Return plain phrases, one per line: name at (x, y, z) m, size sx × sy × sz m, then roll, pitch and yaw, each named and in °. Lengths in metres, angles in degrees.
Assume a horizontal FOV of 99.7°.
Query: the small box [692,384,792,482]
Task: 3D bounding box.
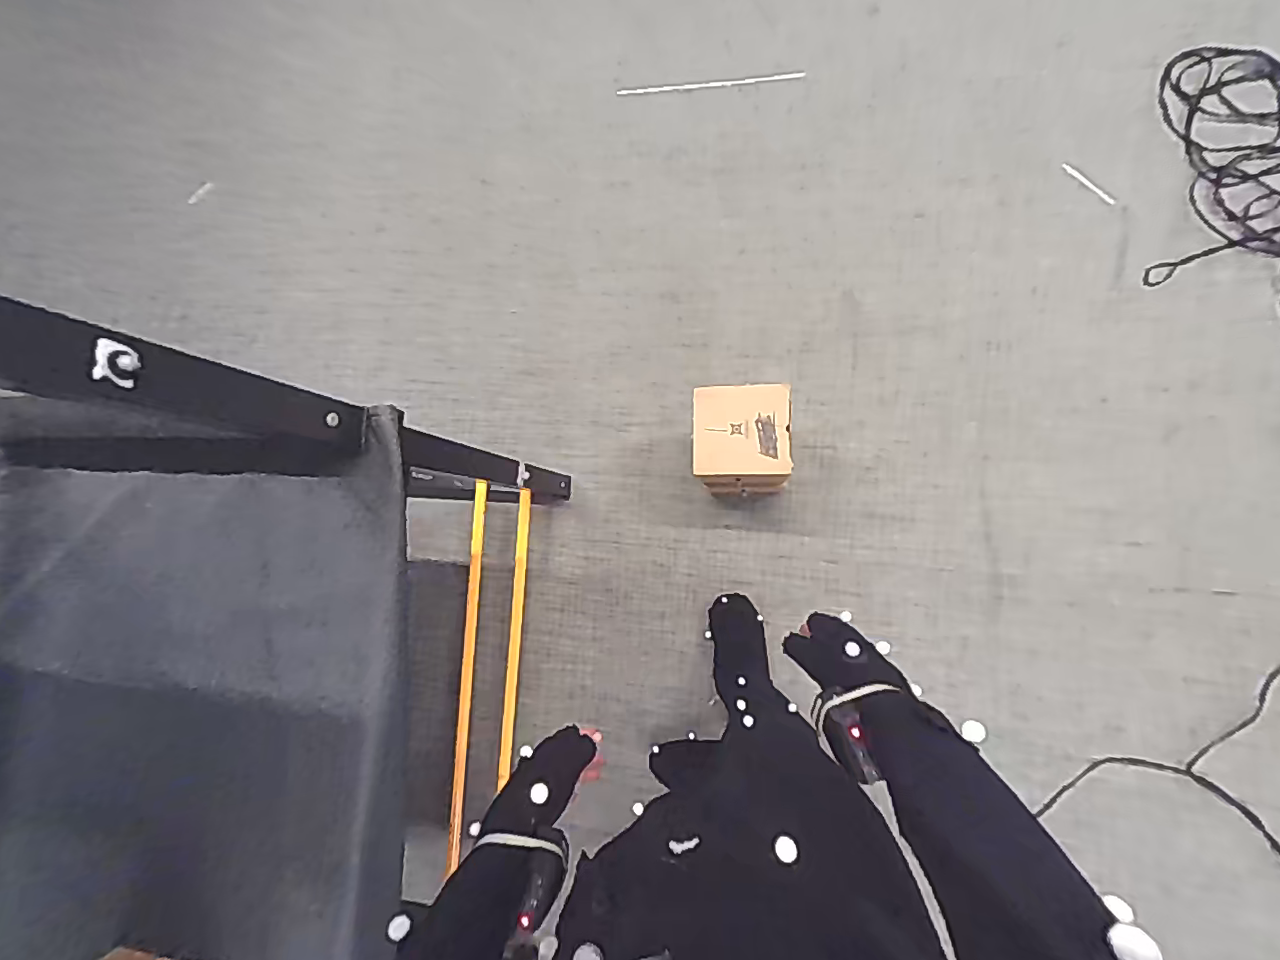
small box at (0.197, -0.085, 1.044) m, size 0.179 × 0.176 × 0.168 m, roll 0°, pitch 85°, yaw 13°
